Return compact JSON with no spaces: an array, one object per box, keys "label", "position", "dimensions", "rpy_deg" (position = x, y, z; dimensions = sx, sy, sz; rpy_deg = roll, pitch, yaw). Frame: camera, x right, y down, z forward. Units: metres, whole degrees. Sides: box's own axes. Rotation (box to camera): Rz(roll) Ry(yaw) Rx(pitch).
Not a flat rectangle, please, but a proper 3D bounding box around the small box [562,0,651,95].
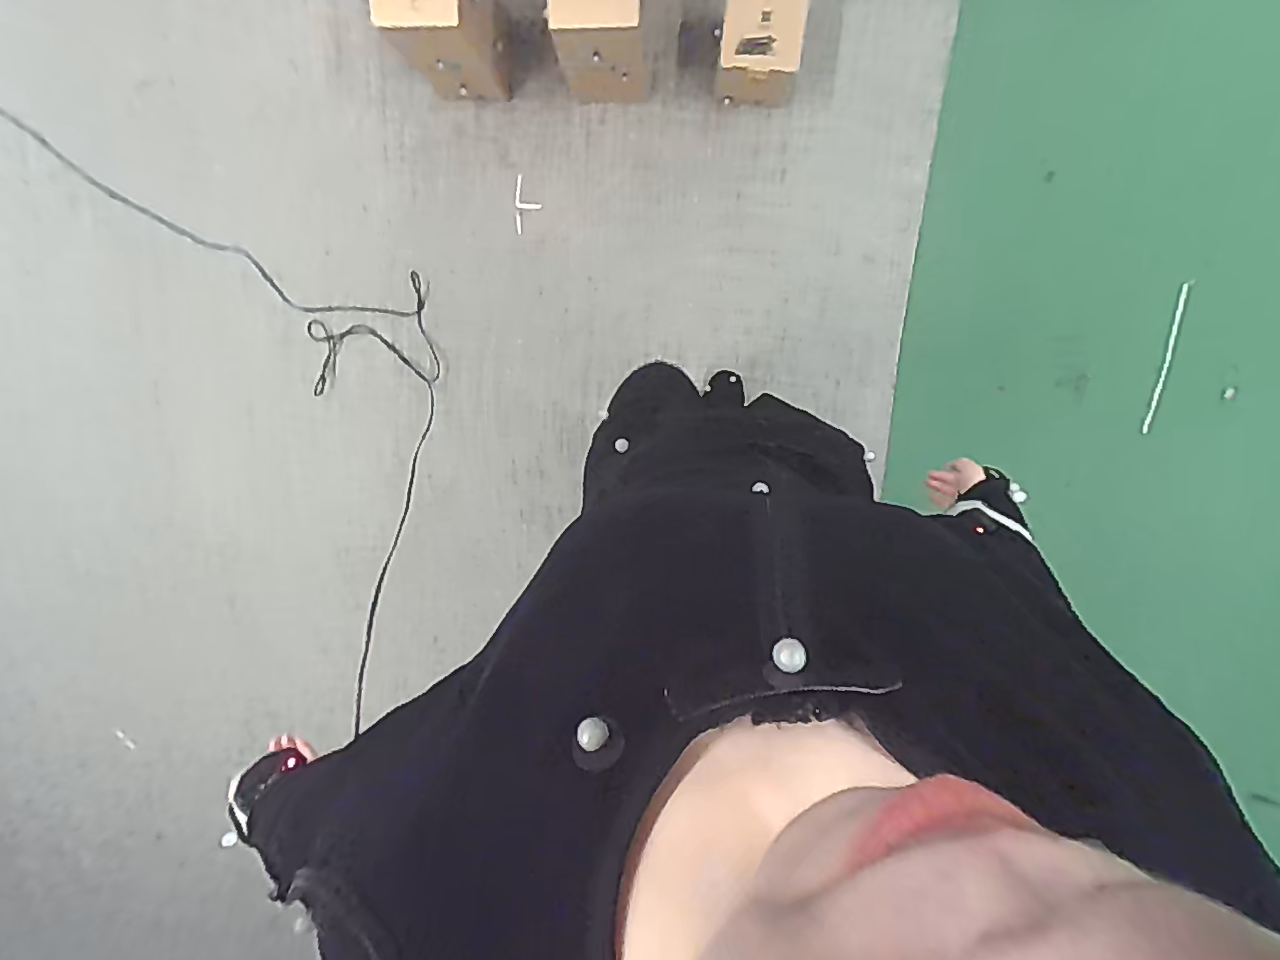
[{"label":"small box","position":[-0.069,-0.981,1.196],"dimensions":[0.179,0.176,0.168],"rpy_deg":[3,104,3]}]
